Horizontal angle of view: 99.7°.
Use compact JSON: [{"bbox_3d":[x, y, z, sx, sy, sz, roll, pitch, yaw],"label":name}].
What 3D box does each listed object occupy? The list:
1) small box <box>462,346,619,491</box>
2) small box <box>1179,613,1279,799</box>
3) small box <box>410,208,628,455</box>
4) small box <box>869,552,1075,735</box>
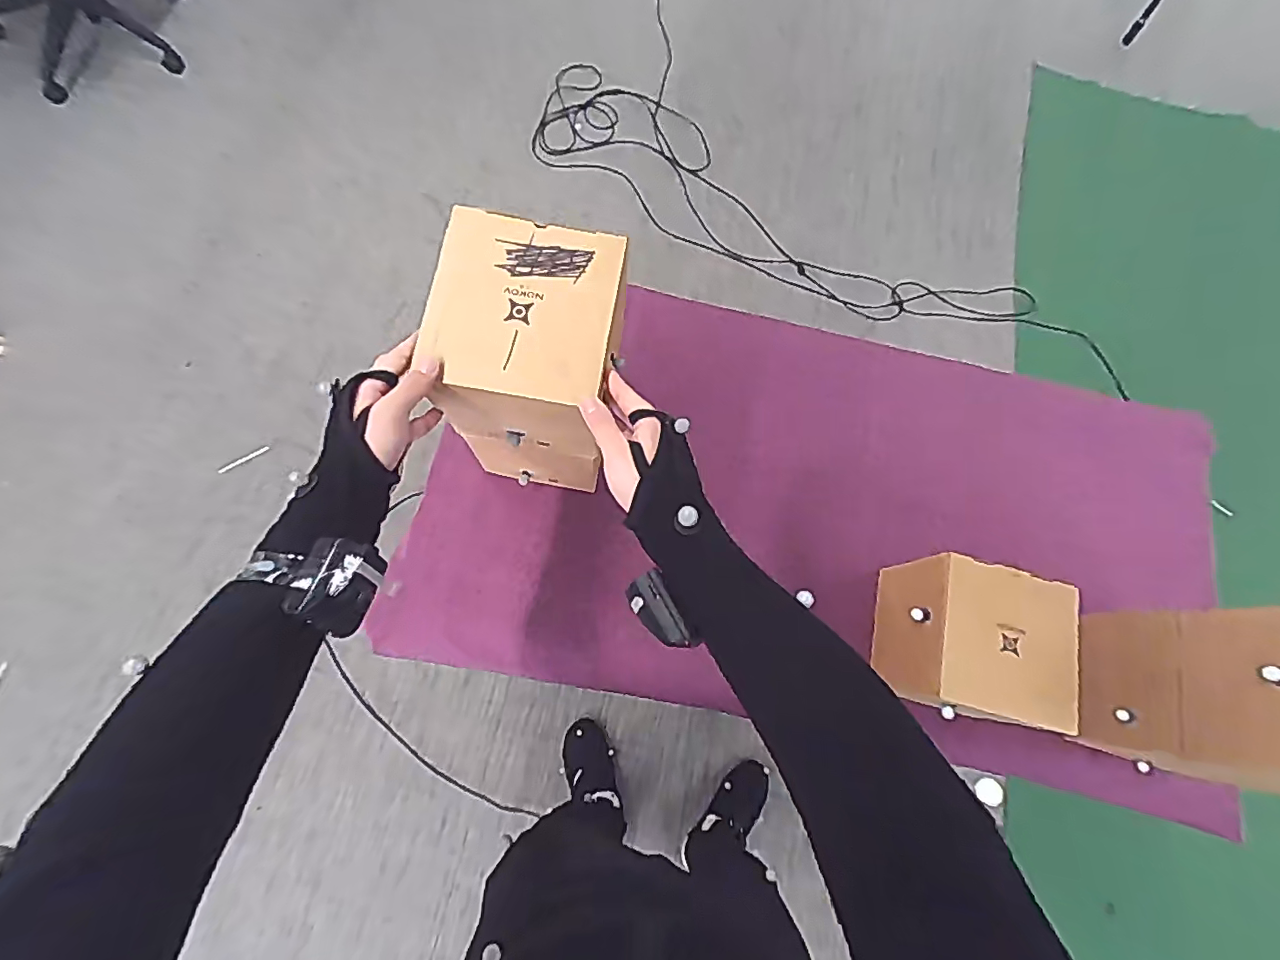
[{"bbox_3d":[-0.129,-0.099,0.756,0.168,0.176,0.179,11,74,-1],"label":"small box"},{"bbox_3d":[0.710,0.240,0.553,0.168,0.176,0.179,17,72,2],"label":"small box"},{"bbox_3d":[-0.111,-0.140,0.565,0.168,0.176,0.179,10,79,-1],"label":"small box"},{"bbox_3d":[0.423,0.212,0.711,0.168,0.176,0.179,15,71,0],"label":"small box"}]
